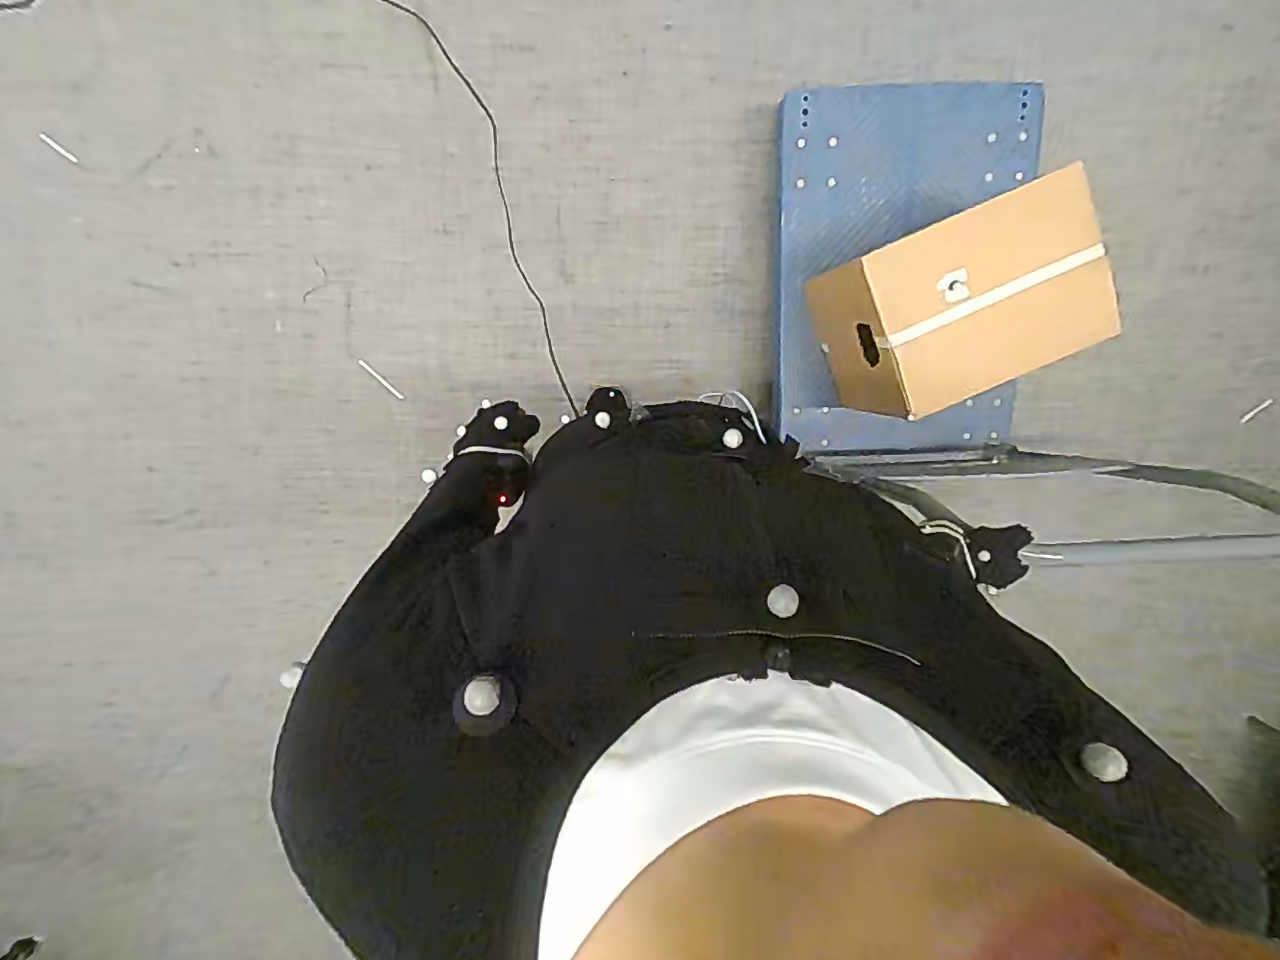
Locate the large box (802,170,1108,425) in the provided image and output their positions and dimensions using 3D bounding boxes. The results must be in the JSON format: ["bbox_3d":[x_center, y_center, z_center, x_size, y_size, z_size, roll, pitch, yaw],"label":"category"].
[{"bbox_3d":[0.609,-0.349,1.106,0.408,0.320,0.320,-23,101,3],"label":"large box"}]
